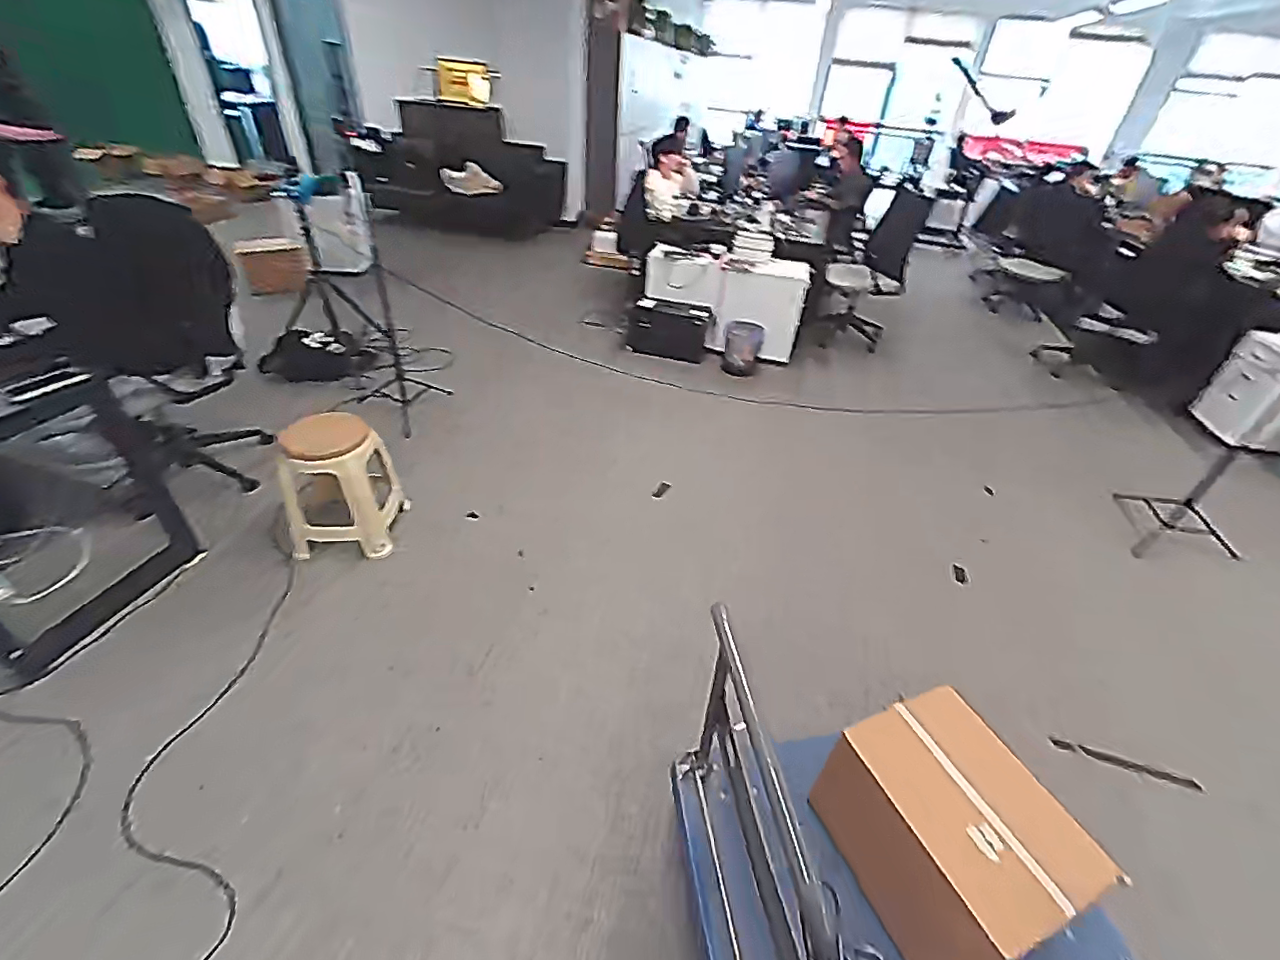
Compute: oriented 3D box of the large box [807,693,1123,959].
[{"bbox_3d":[0.623,0.741,1.126,0.320,0.320,0.408,-11,40,-20],"label":"large box"}]
